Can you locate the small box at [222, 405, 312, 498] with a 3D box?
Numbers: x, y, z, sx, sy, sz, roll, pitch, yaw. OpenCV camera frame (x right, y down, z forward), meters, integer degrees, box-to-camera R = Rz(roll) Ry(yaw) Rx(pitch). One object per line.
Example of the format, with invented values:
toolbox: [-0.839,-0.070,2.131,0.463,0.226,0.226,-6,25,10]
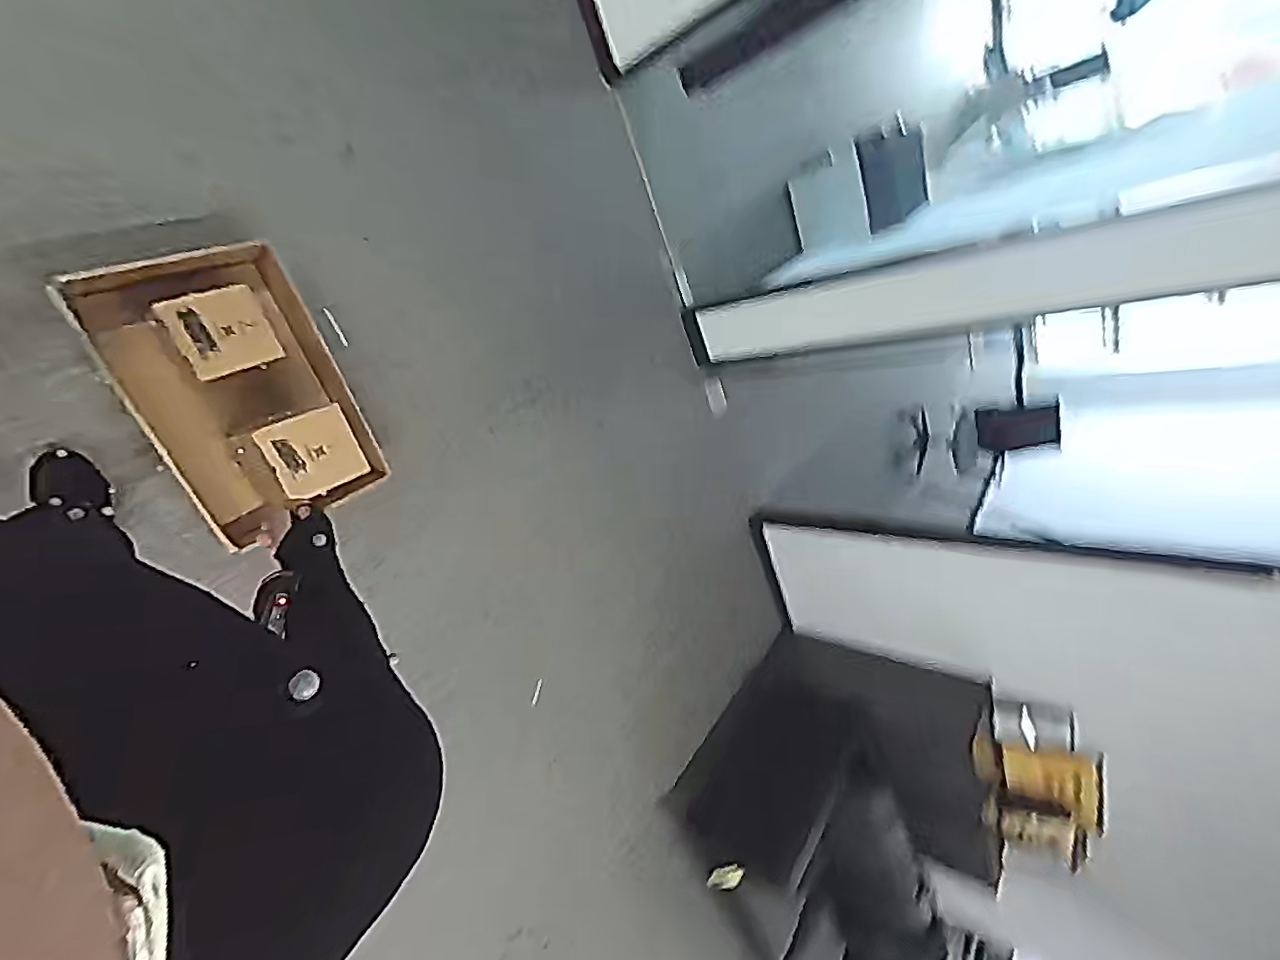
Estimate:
small box: [-0.863,-0.073,1.306,0.179,0.176,0.168,-36,116,-38]

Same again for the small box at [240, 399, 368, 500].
small box: [-0.745,-0.067,1.192,0.179,0.176,0.168,-35,115,-41]
